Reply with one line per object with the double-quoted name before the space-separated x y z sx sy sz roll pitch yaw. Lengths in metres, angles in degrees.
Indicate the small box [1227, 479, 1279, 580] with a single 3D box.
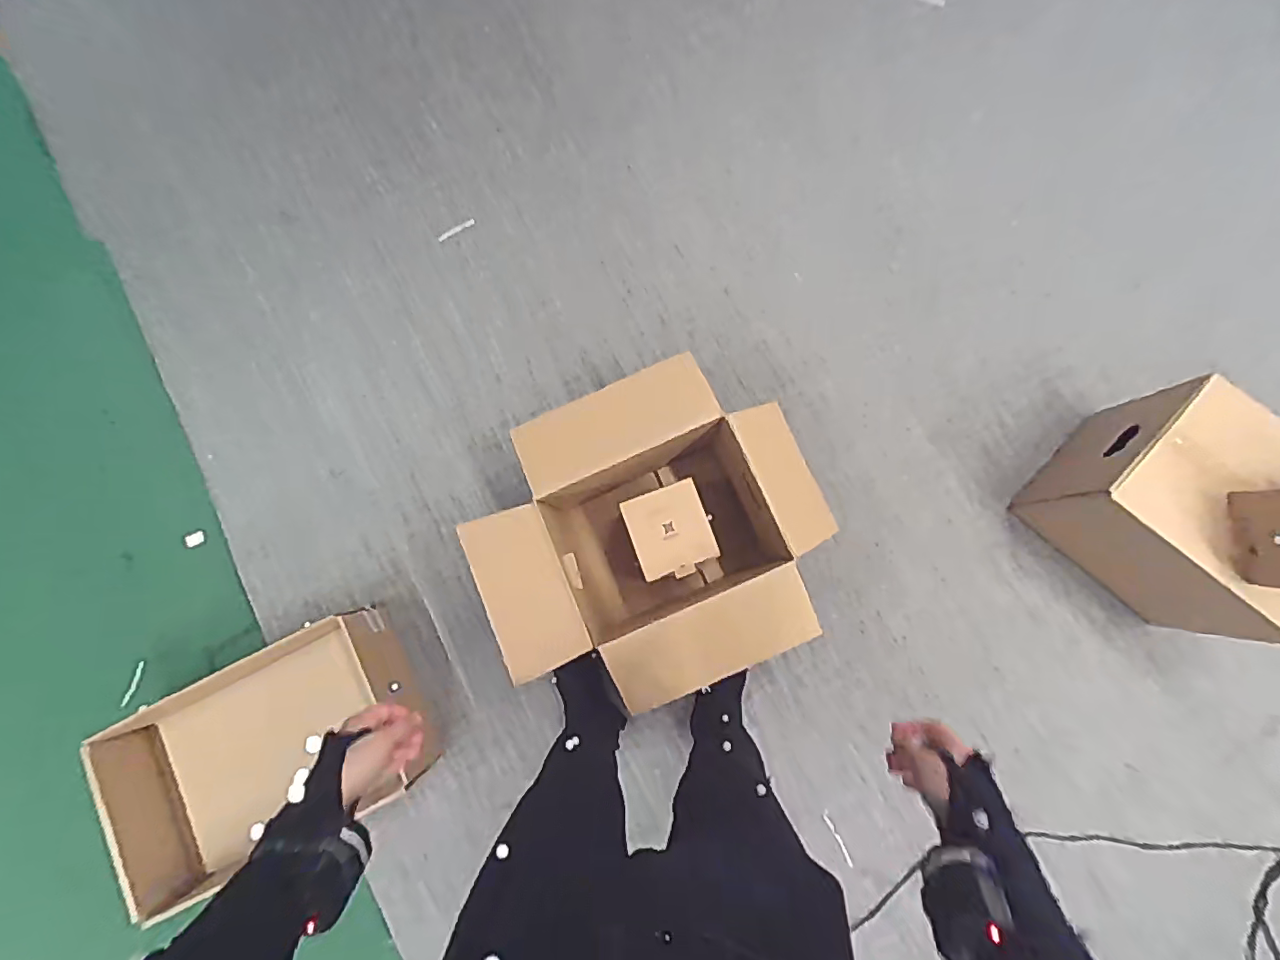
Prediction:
"small box" 1.116 0.073 0.869 0.179 0.176 0.168 -7 83 4
